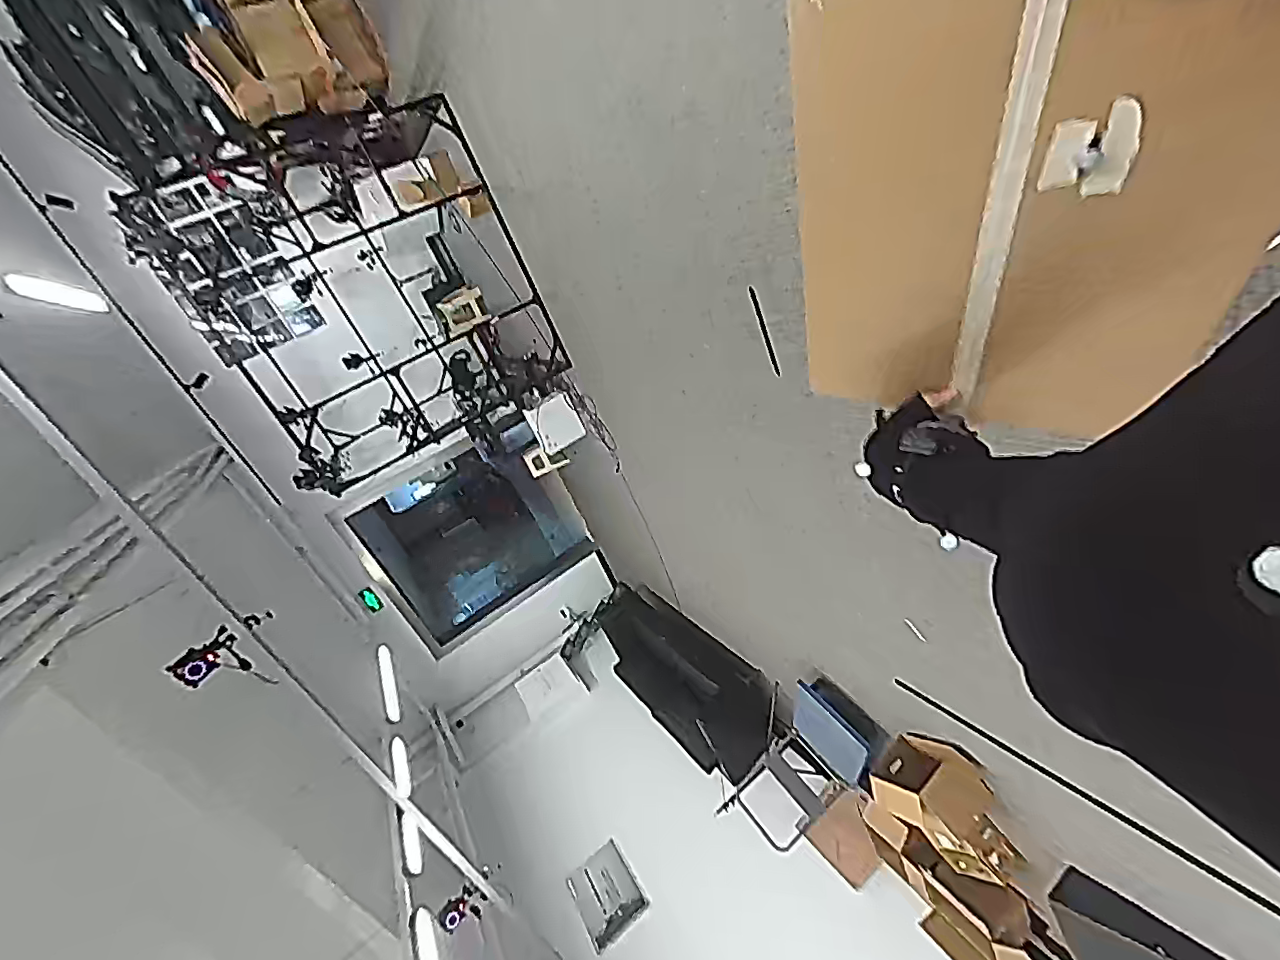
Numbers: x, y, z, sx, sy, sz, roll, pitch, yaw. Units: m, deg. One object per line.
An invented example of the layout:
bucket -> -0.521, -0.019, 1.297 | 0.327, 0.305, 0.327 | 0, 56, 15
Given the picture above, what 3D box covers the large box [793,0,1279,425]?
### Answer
large box -> 0.361, -0.316, 0.498 | 0.320, 0.320, 0.408 | 14, 148, 31
